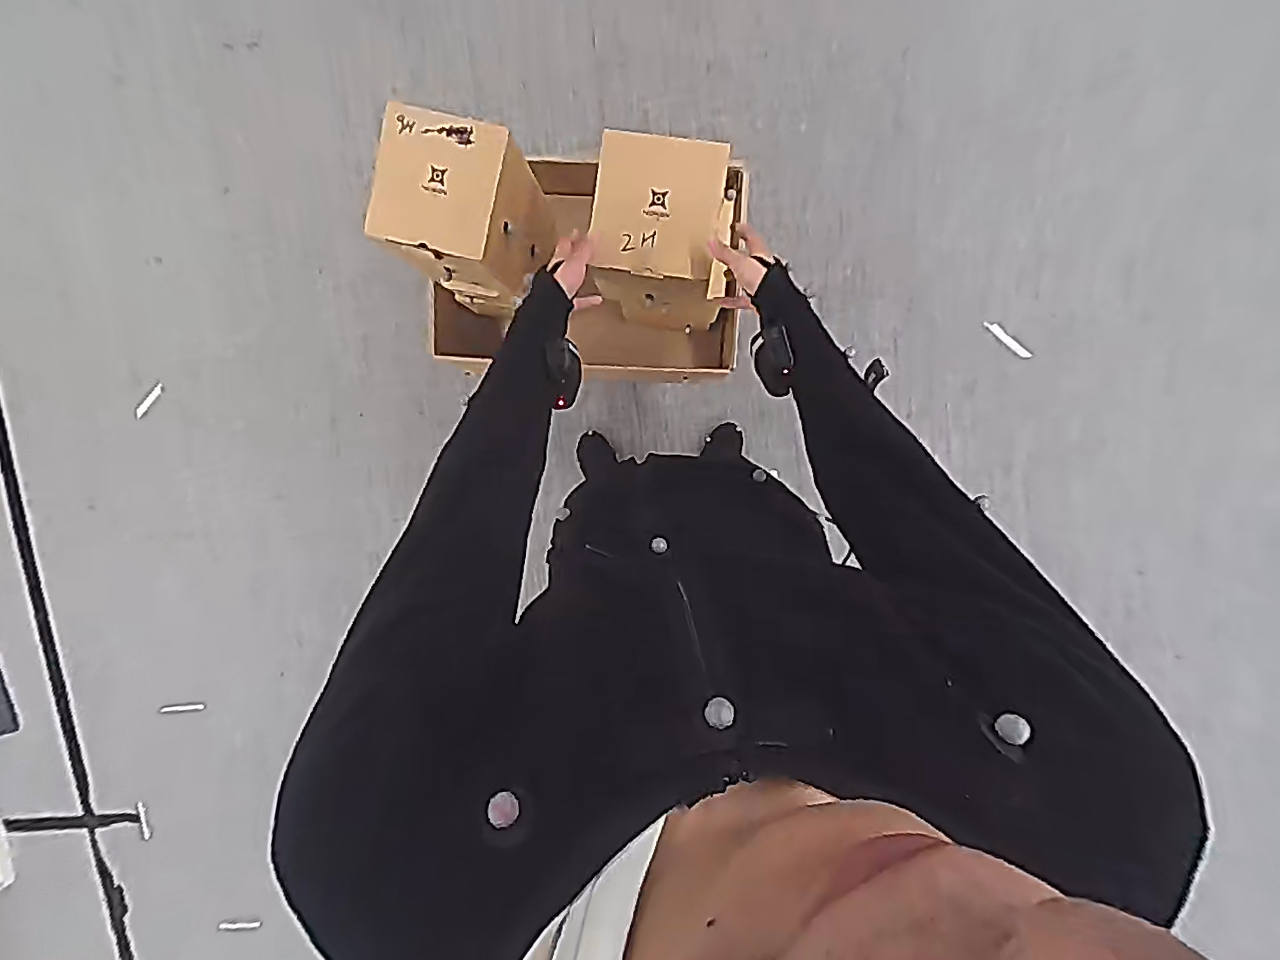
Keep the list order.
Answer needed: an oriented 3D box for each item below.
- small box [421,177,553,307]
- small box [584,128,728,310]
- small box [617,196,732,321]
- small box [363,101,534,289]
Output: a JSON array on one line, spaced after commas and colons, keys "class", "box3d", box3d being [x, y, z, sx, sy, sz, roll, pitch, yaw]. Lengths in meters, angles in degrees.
[{"class": "small box", "box3d": [-0.258, -0.415, 0.947, 0.168, 0.176, 0.179, 11, 95, 2]}, {"class": "small box", "box3d": [0.024, -0.360, 0.775, 0.168, 0.176, 0.179, 9, 96, 3]}, {"class": "small box", "box3d": [0.055, -0.379, 0.937, 0.179, 0.176, 0.168, 5, 94, 2]}, {"class": "small box", "box3d": [-0.265, -0.395, 0.784, 0.168, 0.176, 0.179, 14, 96, 1]}]
